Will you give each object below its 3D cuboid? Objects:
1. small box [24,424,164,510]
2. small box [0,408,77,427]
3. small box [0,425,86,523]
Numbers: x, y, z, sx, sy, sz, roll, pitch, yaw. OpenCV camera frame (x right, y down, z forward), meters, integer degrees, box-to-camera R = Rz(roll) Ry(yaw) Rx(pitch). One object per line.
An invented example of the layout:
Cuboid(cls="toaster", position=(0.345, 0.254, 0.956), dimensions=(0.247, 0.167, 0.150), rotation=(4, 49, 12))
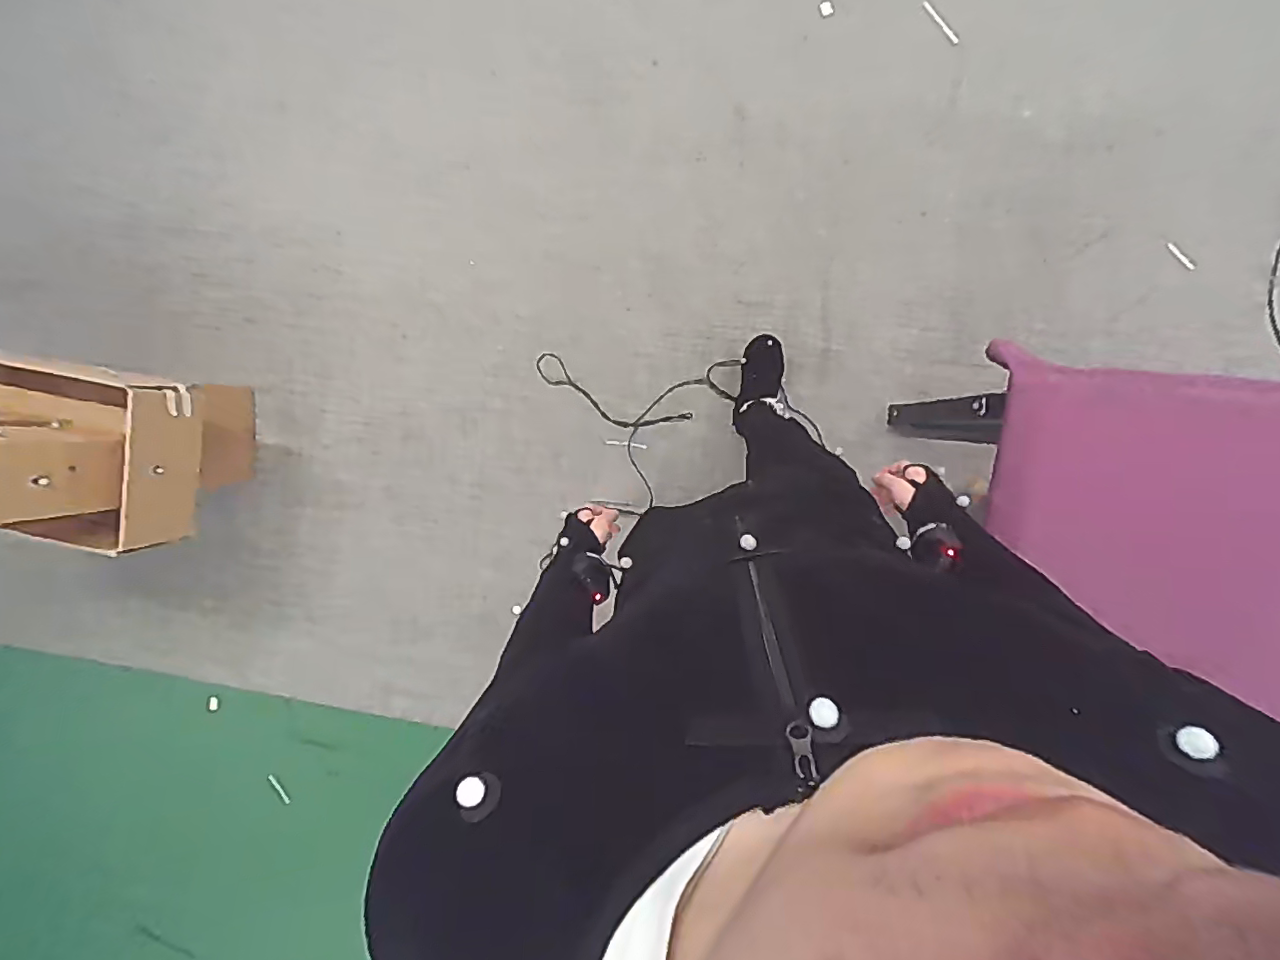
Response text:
Cuboid(cls="small box", position=(-1.283, -0.035, 1.272), dimensions=(0.179, 0.176, 0.168), rotation=(12, 97, 7))
Cuboid(cls="small box", position=(-1.530, -0.084, 1.303), dimensions=(0.179, 0.176, 0.168), rotation=(9, 96, 3))
Cuboid(cls="small box", position=(-1.304, -0.019, 1.111), dimensions=(0.179, 0.176, 0.168), rotation=(11, 96, 6))
